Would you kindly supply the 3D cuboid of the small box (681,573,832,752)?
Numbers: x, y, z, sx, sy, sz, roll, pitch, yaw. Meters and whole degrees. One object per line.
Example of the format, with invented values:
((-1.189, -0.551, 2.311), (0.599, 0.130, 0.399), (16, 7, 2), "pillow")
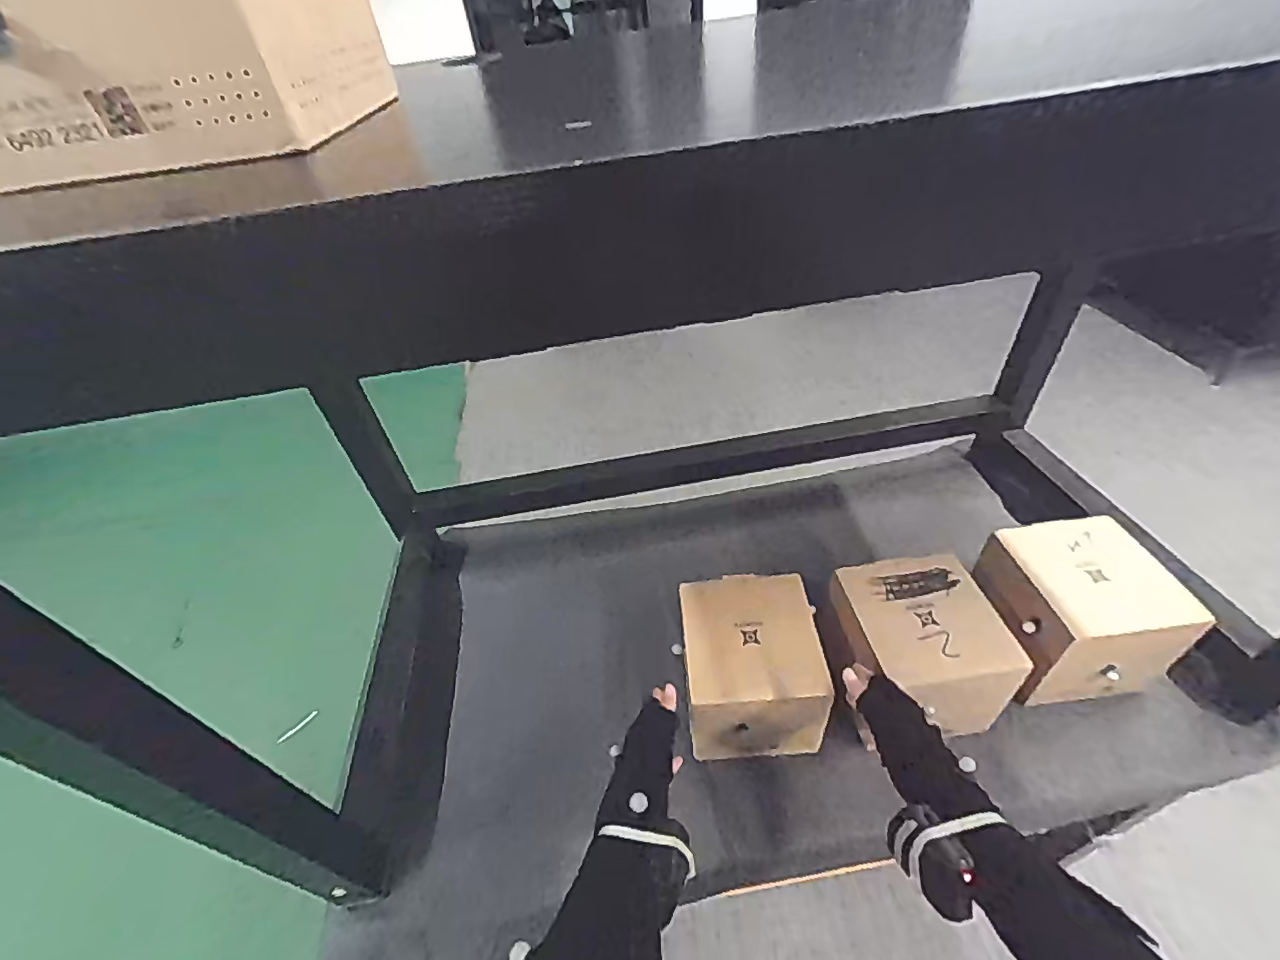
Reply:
((0.148, 0.251, 0.733), (0.168, 0.176, 0.179), (-5, 42, 3), "small box")

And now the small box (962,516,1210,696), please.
((0.583, 0.177, 0.740), (0.168, 0.176, 0.179), (-7, 41, 1), "small box")
